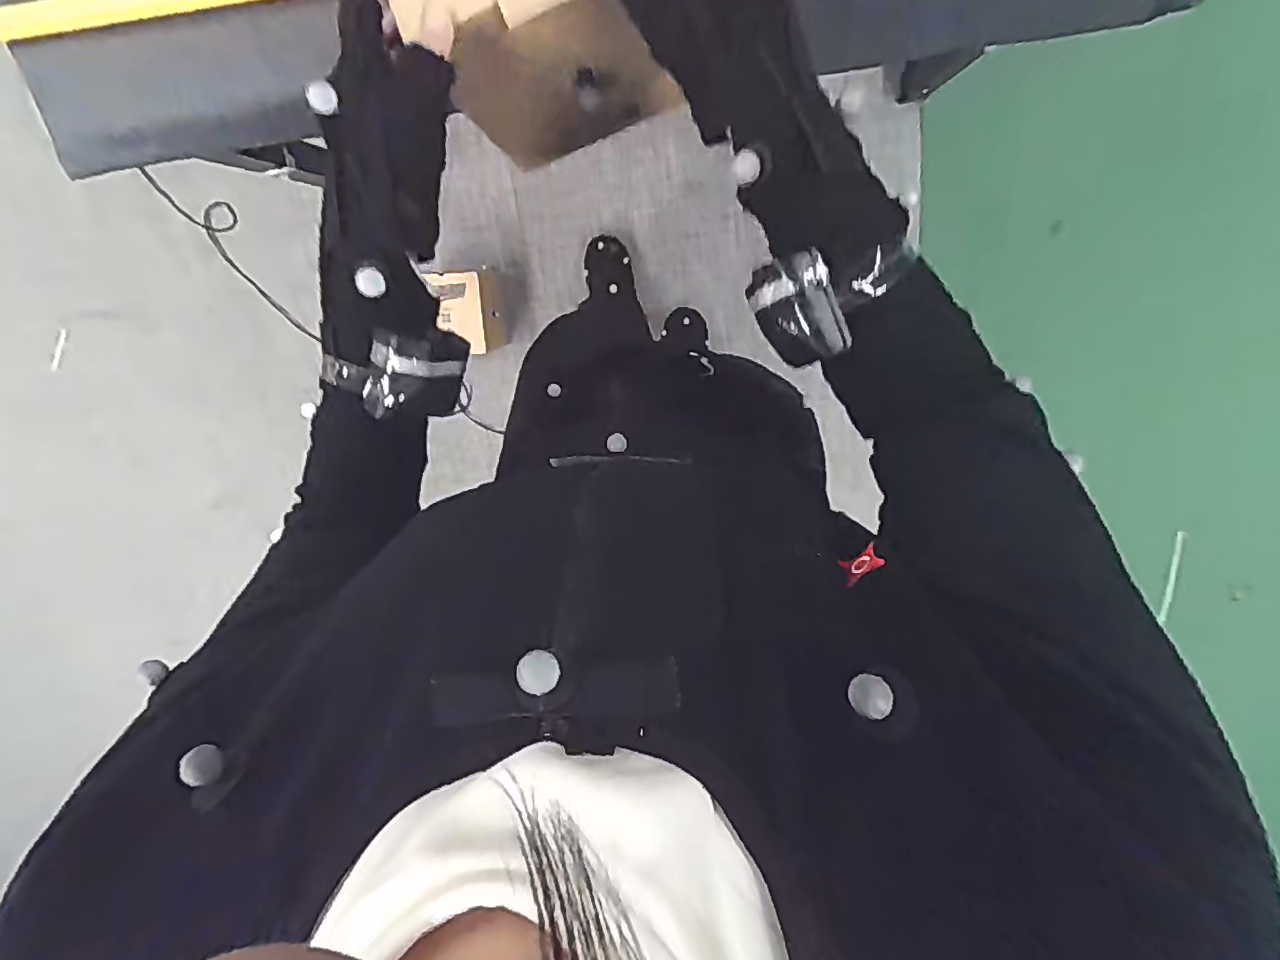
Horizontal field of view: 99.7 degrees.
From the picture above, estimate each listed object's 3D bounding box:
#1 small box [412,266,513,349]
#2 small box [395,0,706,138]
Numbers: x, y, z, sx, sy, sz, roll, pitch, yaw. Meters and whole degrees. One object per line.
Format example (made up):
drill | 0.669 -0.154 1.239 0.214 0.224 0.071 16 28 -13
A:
small box | -0.408 -0.407 1.267 0.168 0.176 0.179 1 112 5
small box | -0.065 -0.363 0.352 0.168 0.176 0.179 -20 94 15
